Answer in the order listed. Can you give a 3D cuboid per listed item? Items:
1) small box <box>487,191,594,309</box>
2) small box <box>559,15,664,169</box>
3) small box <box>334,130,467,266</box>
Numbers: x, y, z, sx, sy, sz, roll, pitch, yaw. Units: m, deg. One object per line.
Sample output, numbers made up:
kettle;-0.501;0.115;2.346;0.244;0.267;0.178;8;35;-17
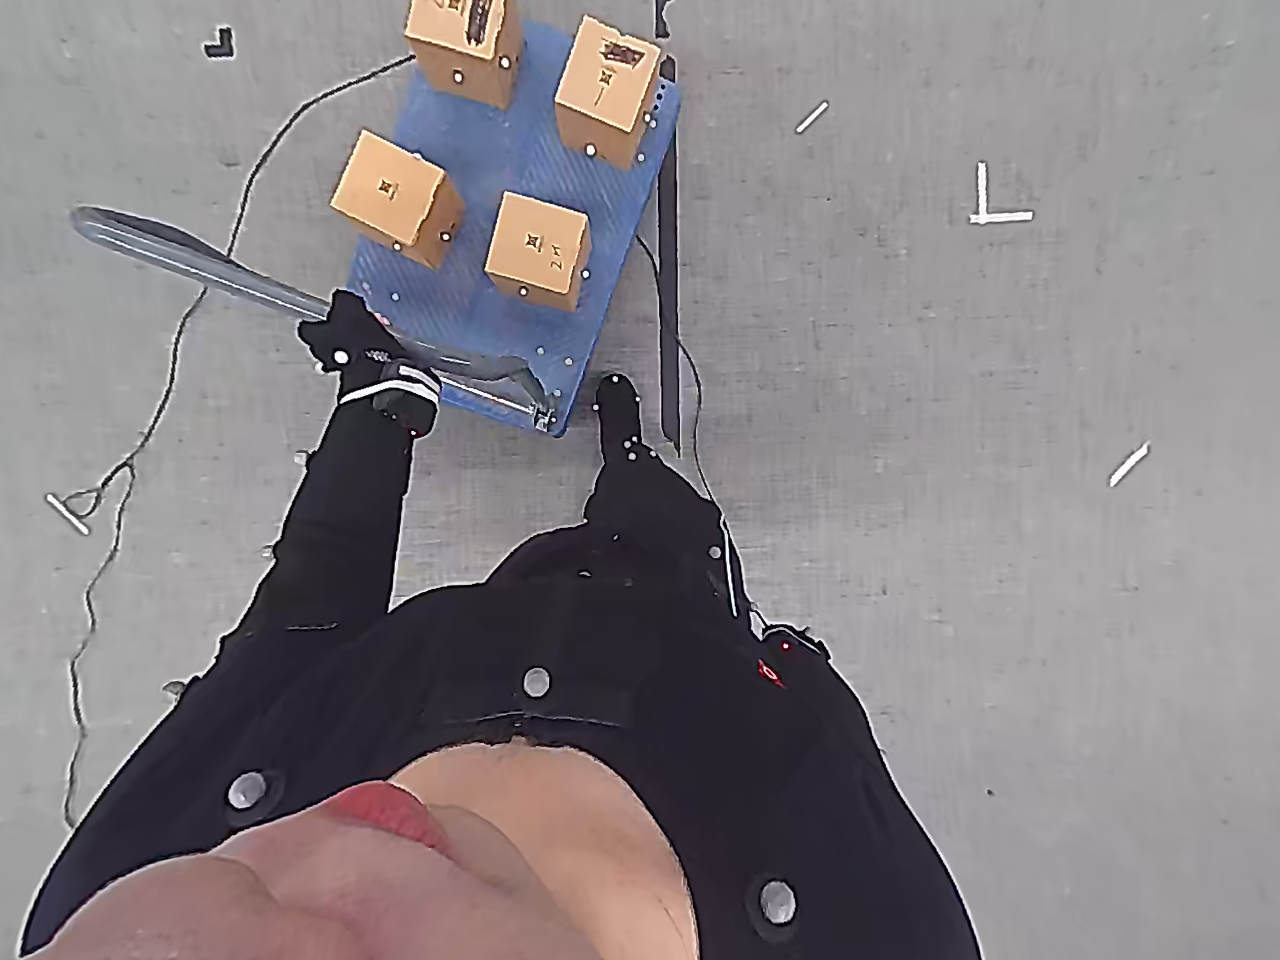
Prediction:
small box;-0.207;-0.485;1.168;0.179;0.176;0.168;15;94;-3
small box;-0.061;-0.812;1.150;0.168;0.176;0.179;21;94;-4
small box;-0.497;-0.585;1.149;0.179;0.176;0.168;25;93;-5
